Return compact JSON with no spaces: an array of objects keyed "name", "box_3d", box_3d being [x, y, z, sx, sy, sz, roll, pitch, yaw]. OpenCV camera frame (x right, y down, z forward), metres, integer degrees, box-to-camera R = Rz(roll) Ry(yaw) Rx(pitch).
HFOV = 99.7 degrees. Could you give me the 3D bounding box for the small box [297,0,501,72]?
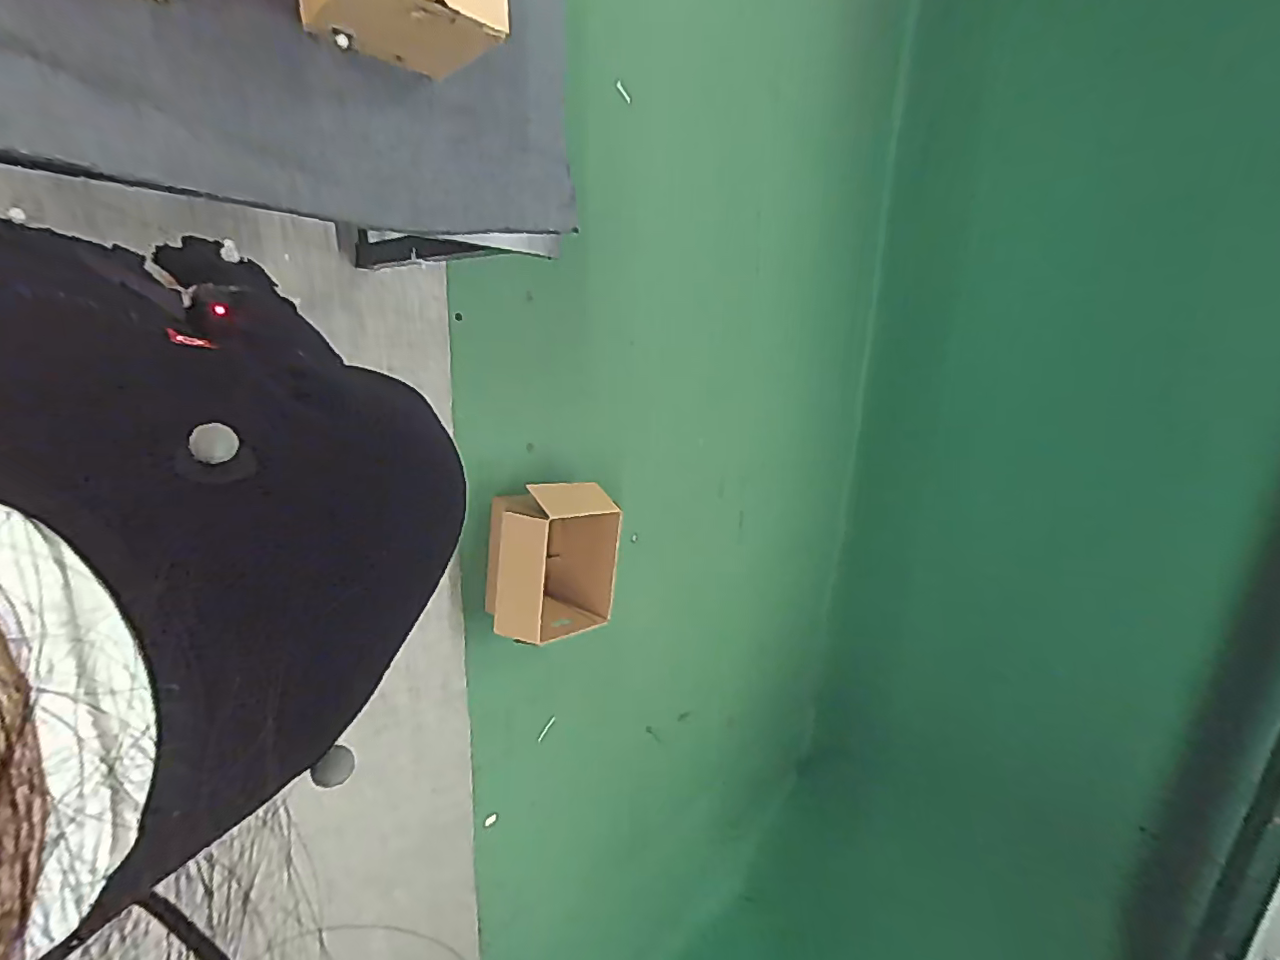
[{"name":"small box","box_3d":[-0.271,-0.590,0.593,0.168,0.176,0.179,-16,113,-46]}]
